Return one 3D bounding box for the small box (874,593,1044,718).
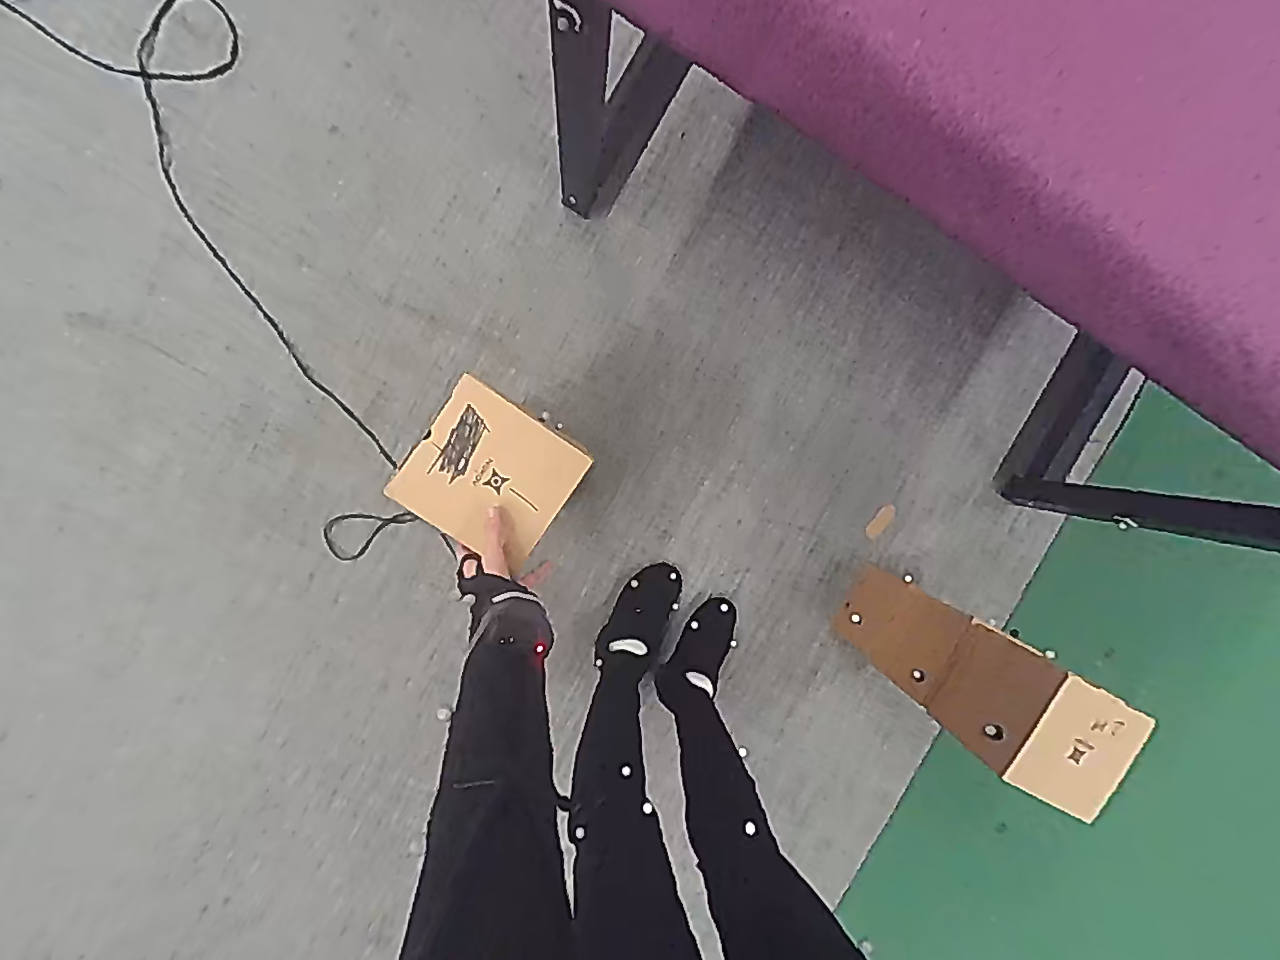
[{"bbox_3d":[0.562,0.331,0.979,0.168,0.176,0.179,28,93,-9],"label":"small box"}]

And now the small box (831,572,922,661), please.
[{"bbox_3d":[0.540,0.310,1.138,0.179,0.176,0.168,31,91,-9],"label":"small box"}]

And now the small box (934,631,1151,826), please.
[{"bbox_3d":[0.588,0.363,0.819,0.168,0.176,0.179,29,93,-9],"label":"small box"}]

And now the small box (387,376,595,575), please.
[{"bbox_3d":[-0.177,-0.008,0.690,0.179,0.176,0.168,35,90,-9],"label":"small box"}]
